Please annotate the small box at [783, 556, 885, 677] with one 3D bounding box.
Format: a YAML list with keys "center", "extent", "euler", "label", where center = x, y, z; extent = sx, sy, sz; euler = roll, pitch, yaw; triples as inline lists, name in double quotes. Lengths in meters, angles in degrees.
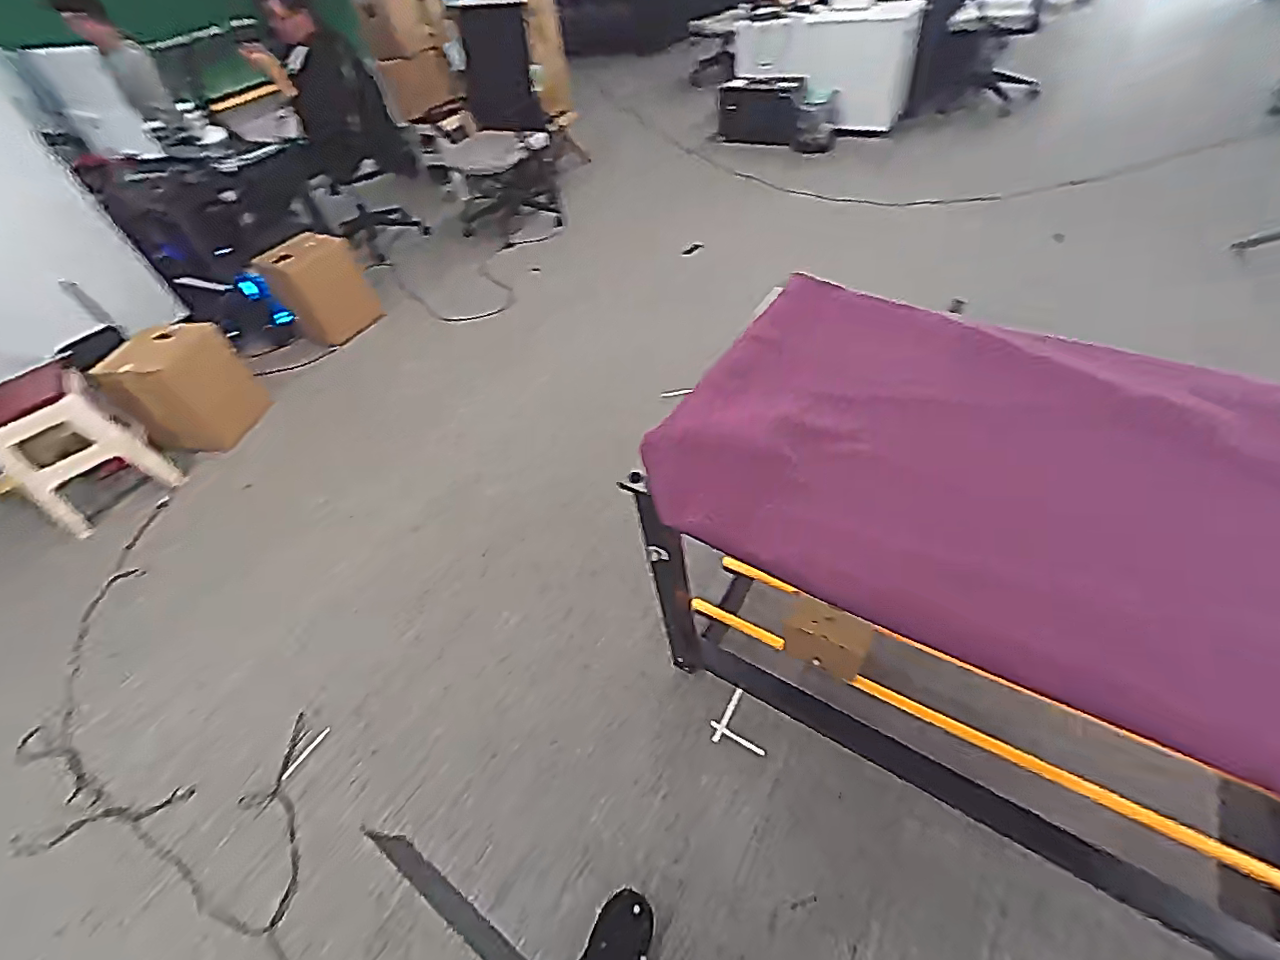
- center: [0.428, 0.308, 1.215]
  extent: [0.168, 0.176, 0.179]
  euler: [19, 57, 24]
  label: "small box"
